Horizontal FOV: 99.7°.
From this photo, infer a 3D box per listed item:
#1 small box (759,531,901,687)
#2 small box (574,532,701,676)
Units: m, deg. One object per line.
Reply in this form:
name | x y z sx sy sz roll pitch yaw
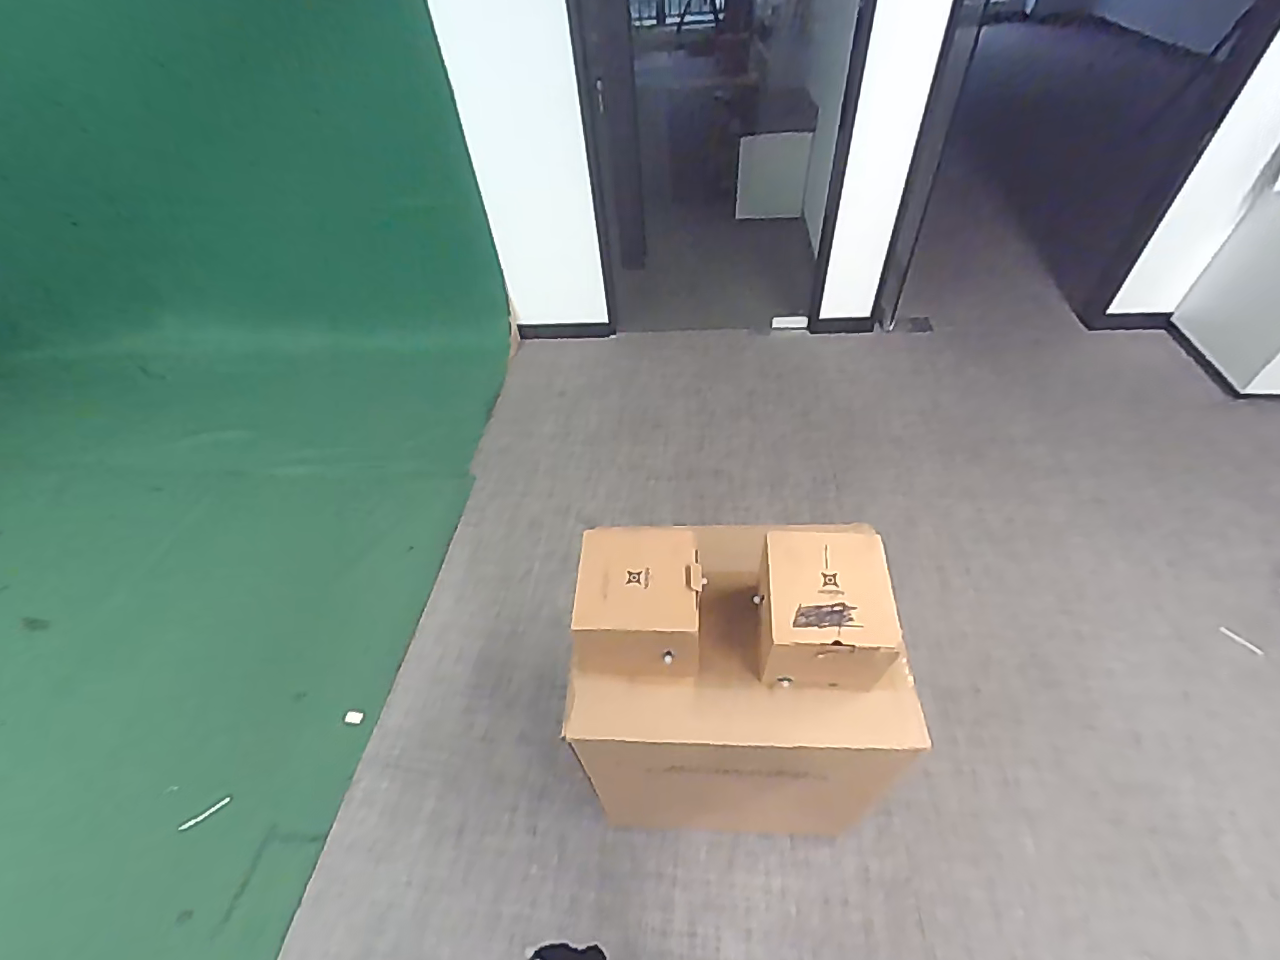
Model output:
small box | 0.269 0.196 0.811 0.168 0.176 0.179 1 51 7
small box | 0.006 0.197 0.846 0.179 0.176 0.168 -2 50 7
